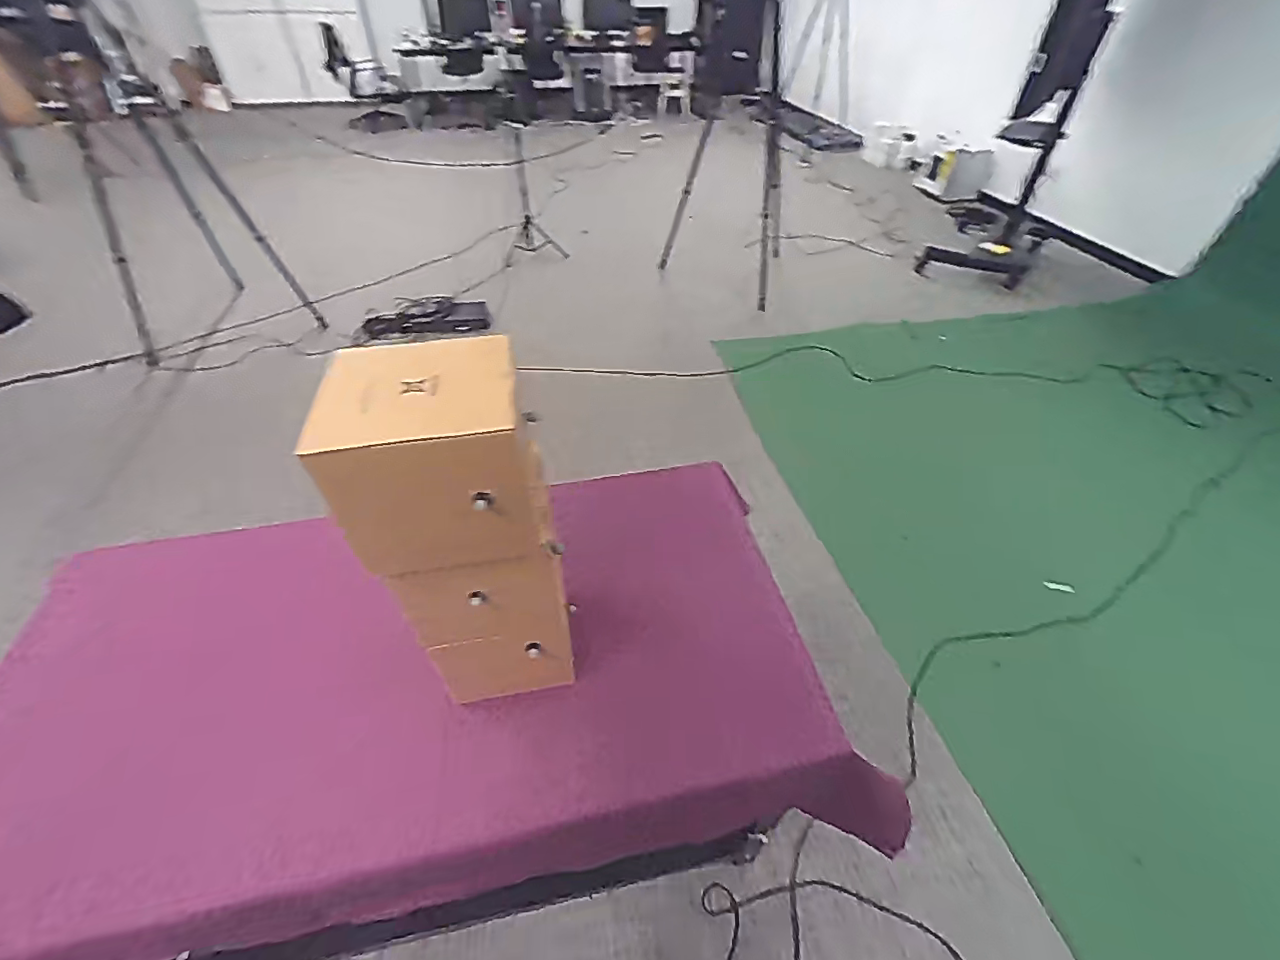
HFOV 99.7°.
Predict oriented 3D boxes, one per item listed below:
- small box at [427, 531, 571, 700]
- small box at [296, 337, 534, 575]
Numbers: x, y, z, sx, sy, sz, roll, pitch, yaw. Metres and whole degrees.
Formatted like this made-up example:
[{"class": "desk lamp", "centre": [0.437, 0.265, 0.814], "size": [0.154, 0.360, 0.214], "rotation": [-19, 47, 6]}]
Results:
[{"class": "small box", "centre": [-0.196, 0.199, 0.795], "size": [0.179, 0.176, 0.168], "rotation": [-8, 44, -8]}, {"class": "small box", "centre": [-0.206, -0.025, 0.555], "size": [0.179, 0.176, 0.168], "rotation": [-8, 44, -8]}]
